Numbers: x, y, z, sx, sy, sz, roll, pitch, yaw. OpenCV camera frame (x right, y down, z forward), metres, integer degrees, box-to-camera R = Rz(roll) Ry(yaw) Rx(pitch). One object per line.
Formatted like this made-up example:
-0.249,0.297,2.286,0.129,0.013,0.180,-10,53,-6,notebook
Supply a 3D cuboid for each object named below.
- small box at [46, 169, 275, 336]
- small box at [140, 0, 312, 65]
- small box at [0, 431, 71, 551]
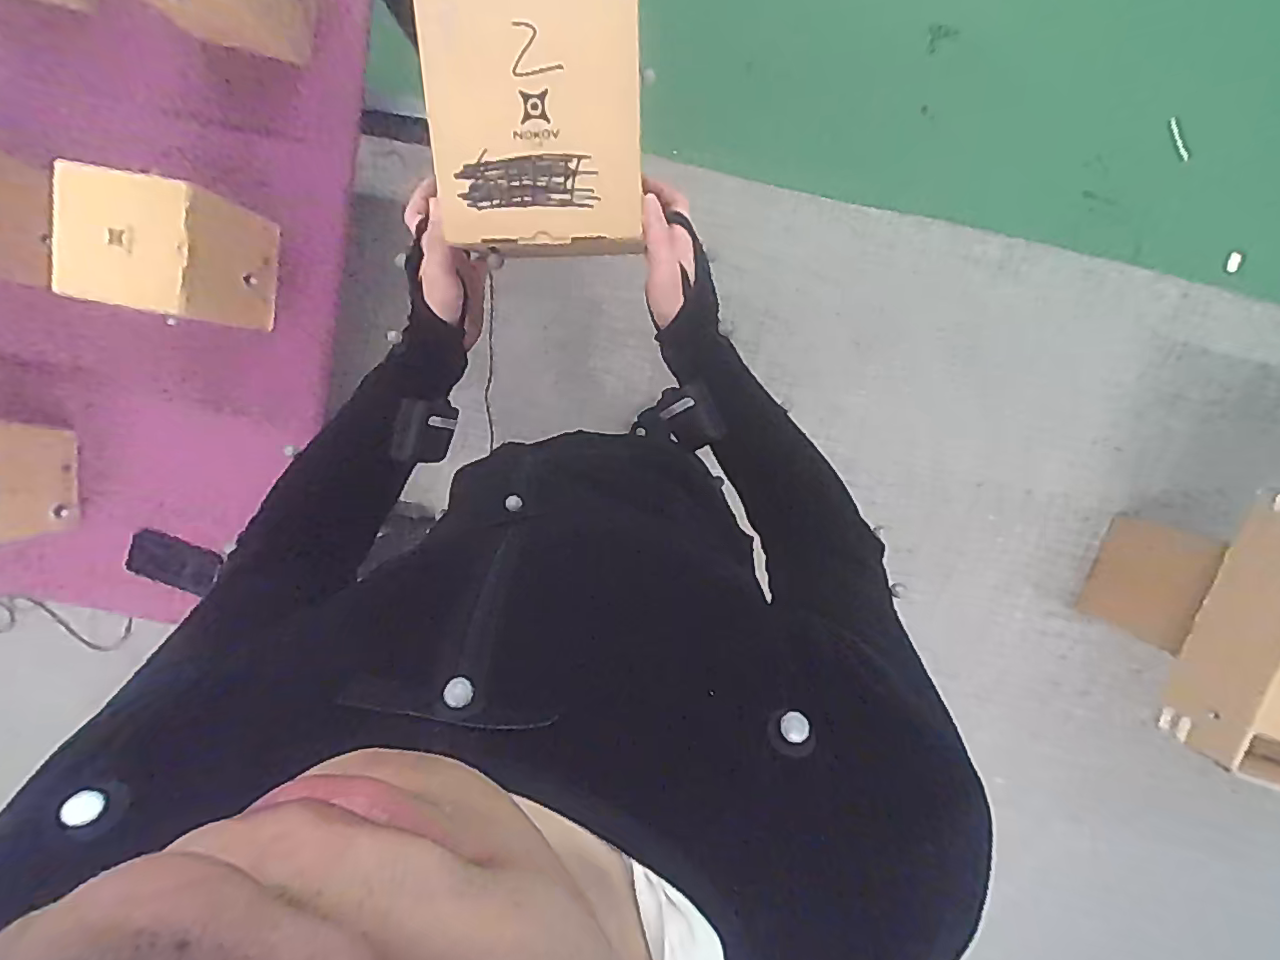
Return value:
-0.665,-0.308,0.766,0.179,0.176,0.168,9,97,0,small box
-0.568,-0.692,0.709,0.179,0.176,0.168,13,99,-1,small box
-1.021,0.014,0.813,0.179,0.176,0.168,7,97,1,small box
